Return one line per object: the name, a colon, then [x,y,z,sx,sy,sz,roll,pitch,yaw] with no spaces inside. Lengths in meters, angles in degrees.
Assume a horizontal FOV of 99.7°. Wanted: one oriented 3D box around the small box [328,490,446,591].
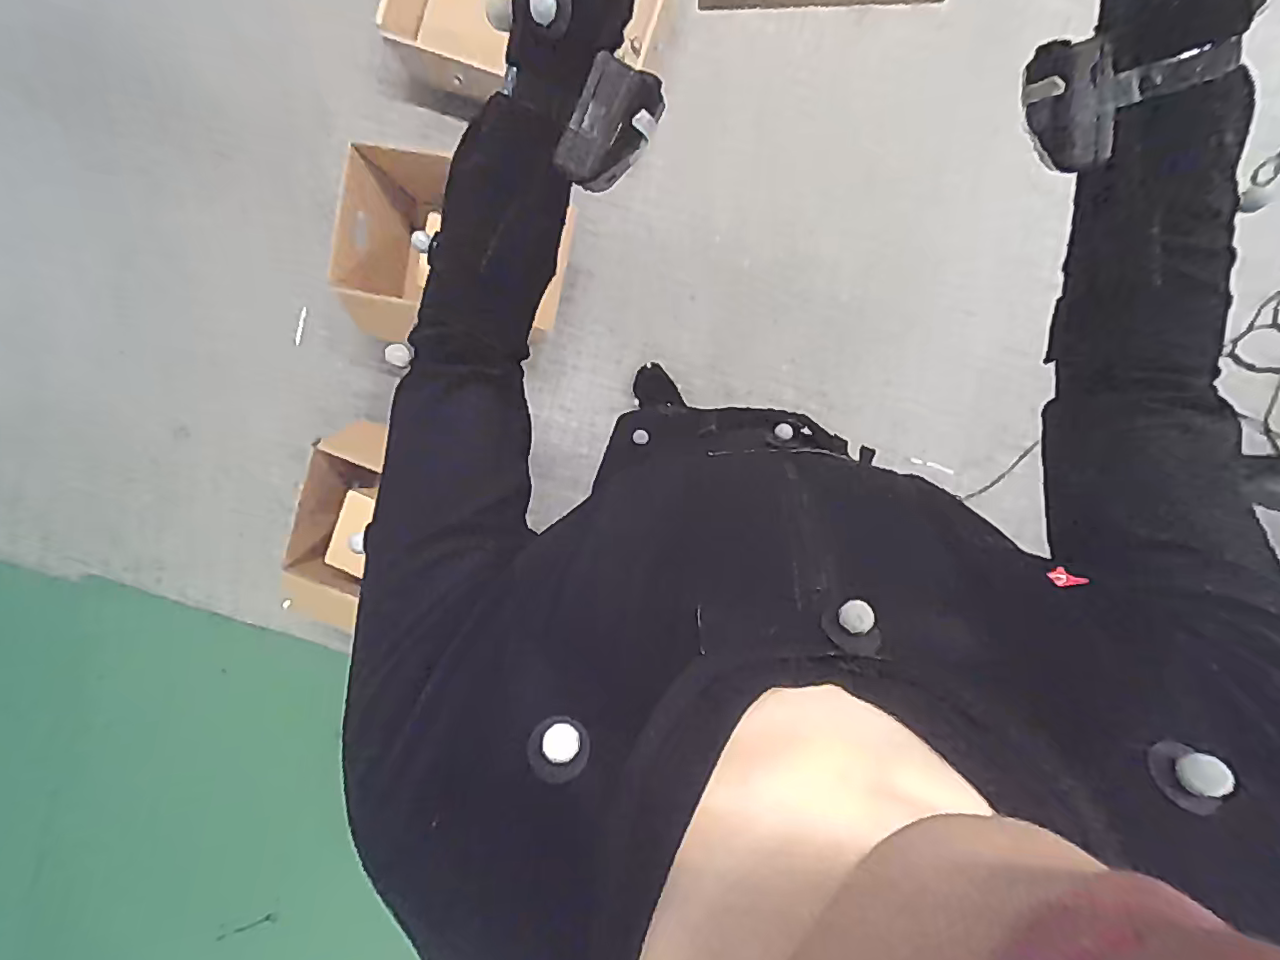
small box: [-0.573,0.130,1.252,0.168,0.176,0.179,21,94,2]
